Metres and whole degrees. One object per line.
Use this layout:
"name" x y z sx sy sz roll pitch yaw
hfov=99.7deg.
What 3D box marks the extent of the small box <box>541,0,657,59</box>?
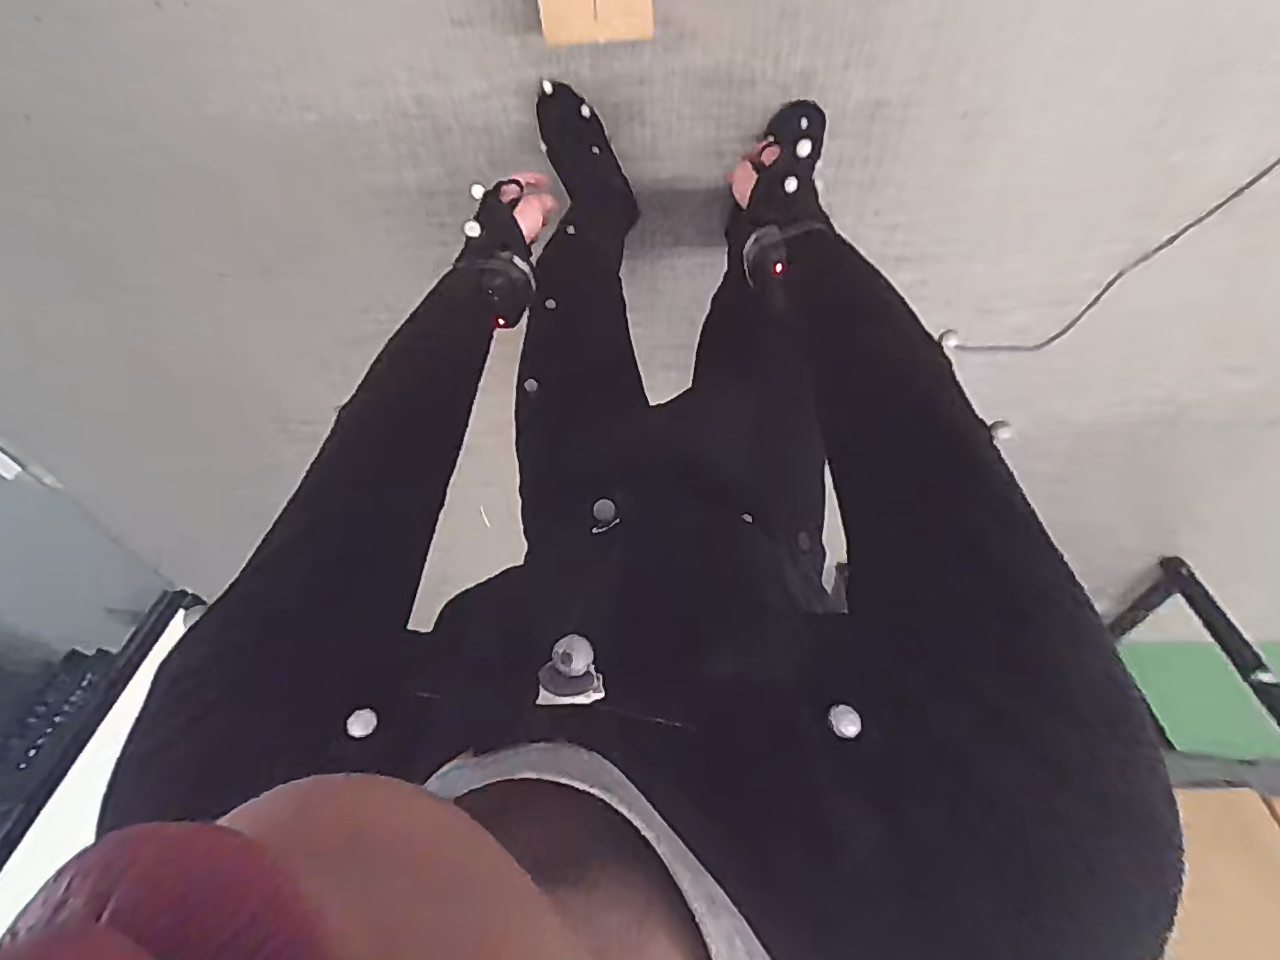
"small box" -0.060 -0.766 0.819 0.168 0.176 0.179 0 137 5
